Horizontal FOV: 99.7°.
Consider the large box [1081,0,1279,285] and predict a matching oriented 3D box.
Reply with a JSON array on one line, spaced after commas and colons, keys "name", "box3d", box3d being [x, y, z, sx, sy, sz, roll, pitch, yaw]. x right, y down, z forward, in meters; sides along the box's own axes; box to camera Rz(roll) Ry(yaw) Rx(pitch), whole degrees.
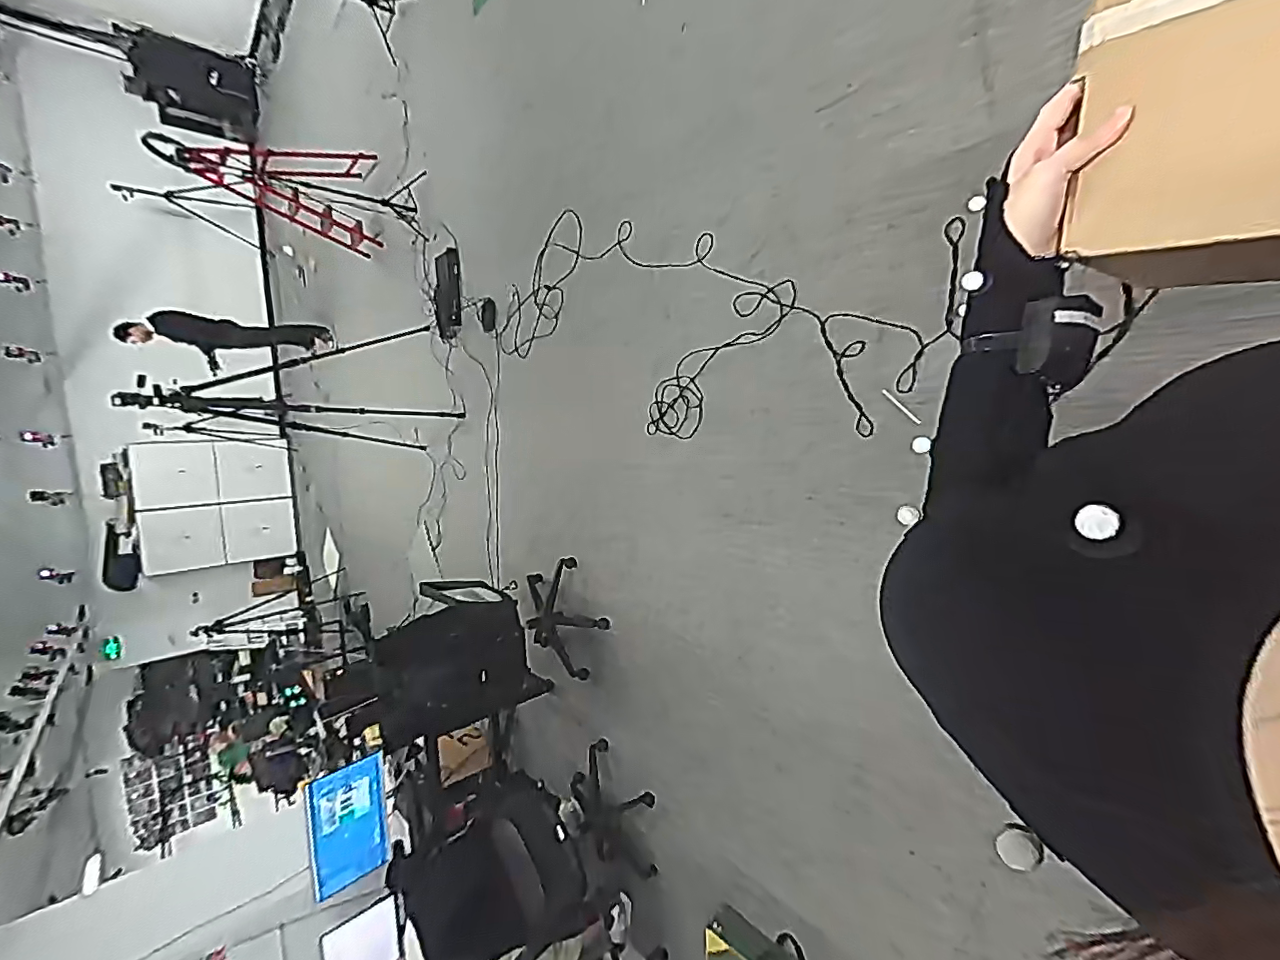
[{"name": "large box", "box3d": [0.580, -0.319, 0.340, 0.408, 0.320, 0.320, 14, 109, 48]}]
